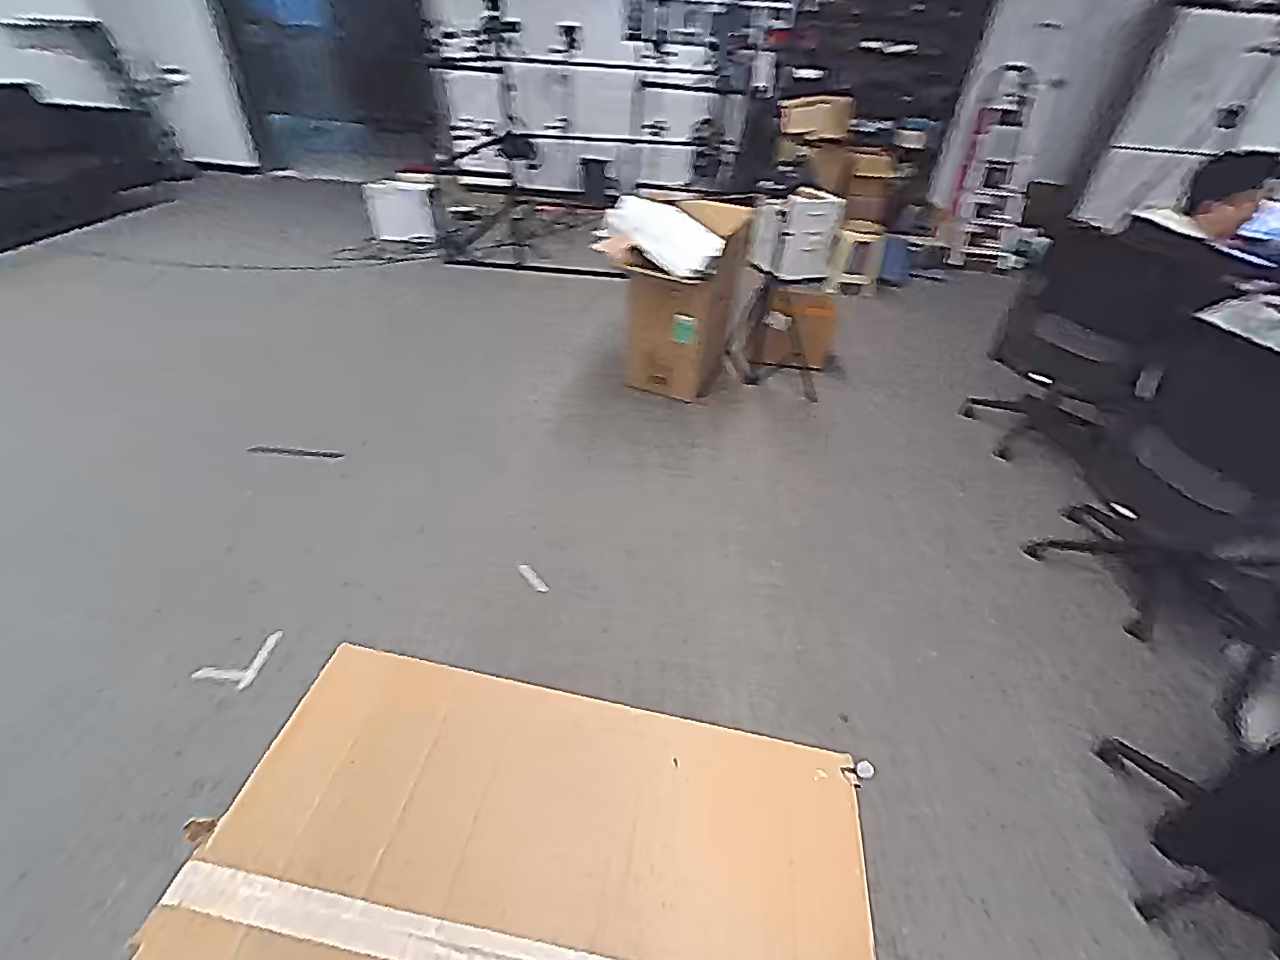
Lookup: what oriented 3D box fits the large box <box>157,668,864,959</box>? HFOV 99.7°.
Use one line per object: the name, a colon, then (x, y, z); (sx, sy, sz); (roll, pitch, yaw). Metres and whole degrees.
large box: (-0.084, 0.389, 0.406); (0.408, 0.320, 0.320); (12, 43, 1)
